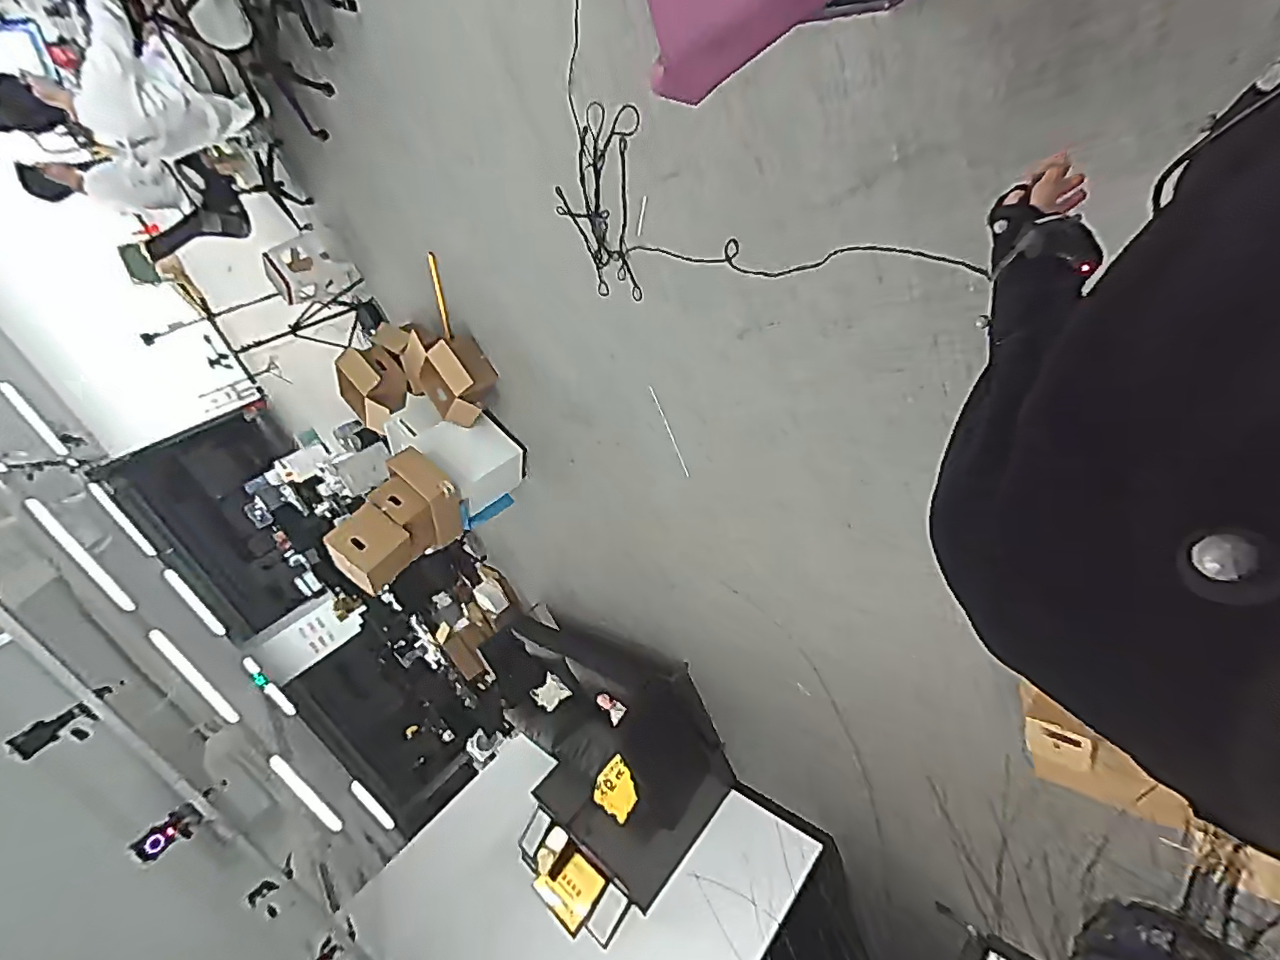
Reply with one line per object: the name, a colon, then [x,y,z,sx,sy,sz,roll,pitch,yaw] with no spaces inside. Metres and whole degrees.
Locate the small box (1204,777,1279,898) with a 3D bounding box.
small box: [1.507,0.873,1.322,0.168,0.176,0.179,2,124,52]
